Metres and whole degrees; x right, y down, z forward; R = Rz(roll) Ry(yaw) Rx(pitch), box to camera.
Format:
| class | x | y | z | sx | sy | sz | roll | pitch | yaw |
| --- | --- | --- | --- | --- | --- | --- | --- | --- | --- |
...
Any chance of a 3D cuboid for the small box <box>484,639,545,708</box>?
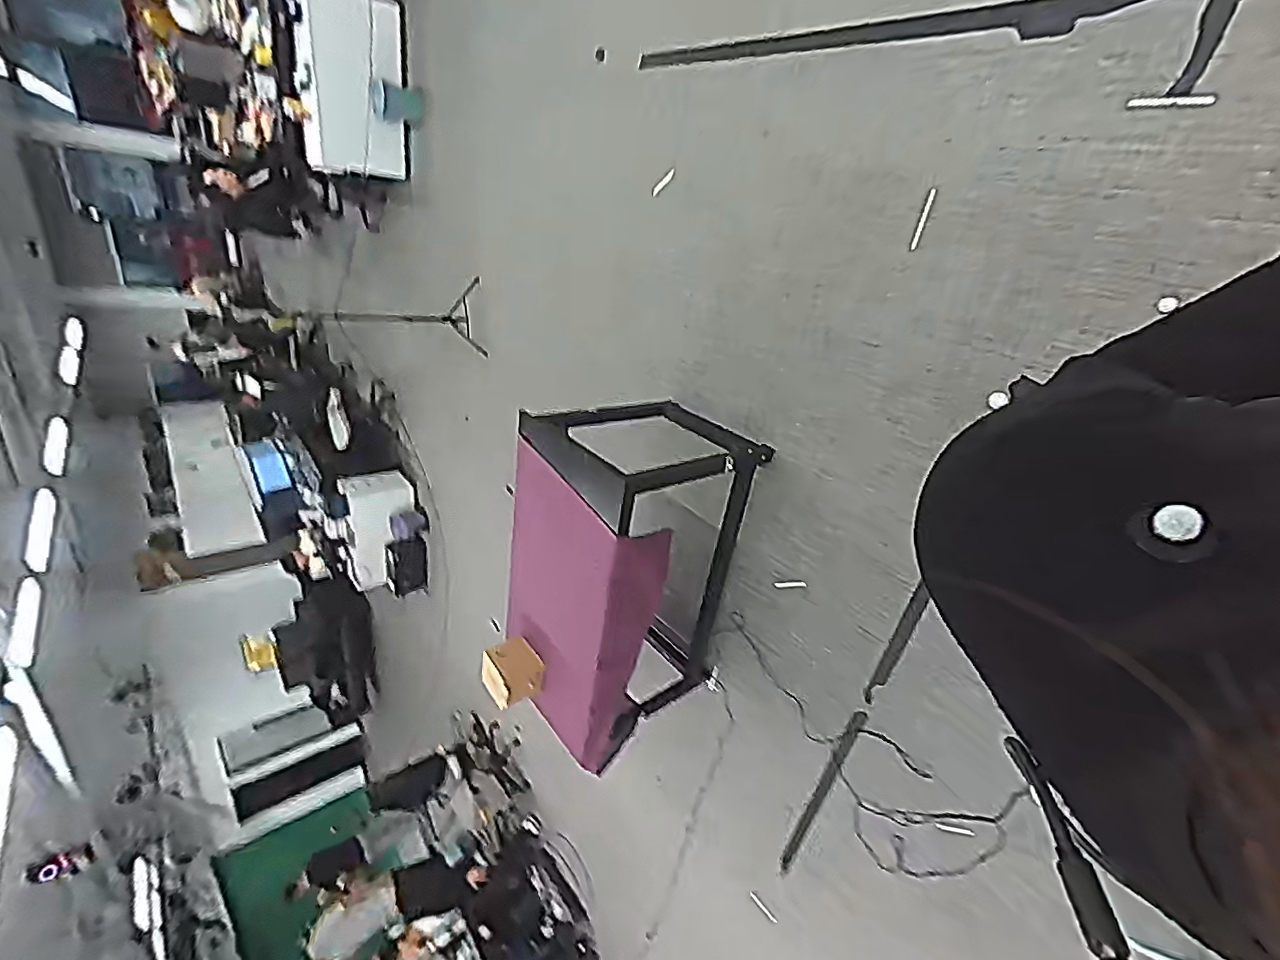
| class | x | y | z | sx | sy | sz | roll | pitch | yaw |
| --- | --- | --- | --- | --- | --- | --- | --- | --- | --- |
| small box | -0.498 | 0.753 | 2.138 | 0.179 | 0.176 | 0.168 | 36 | 126 | 39 |
